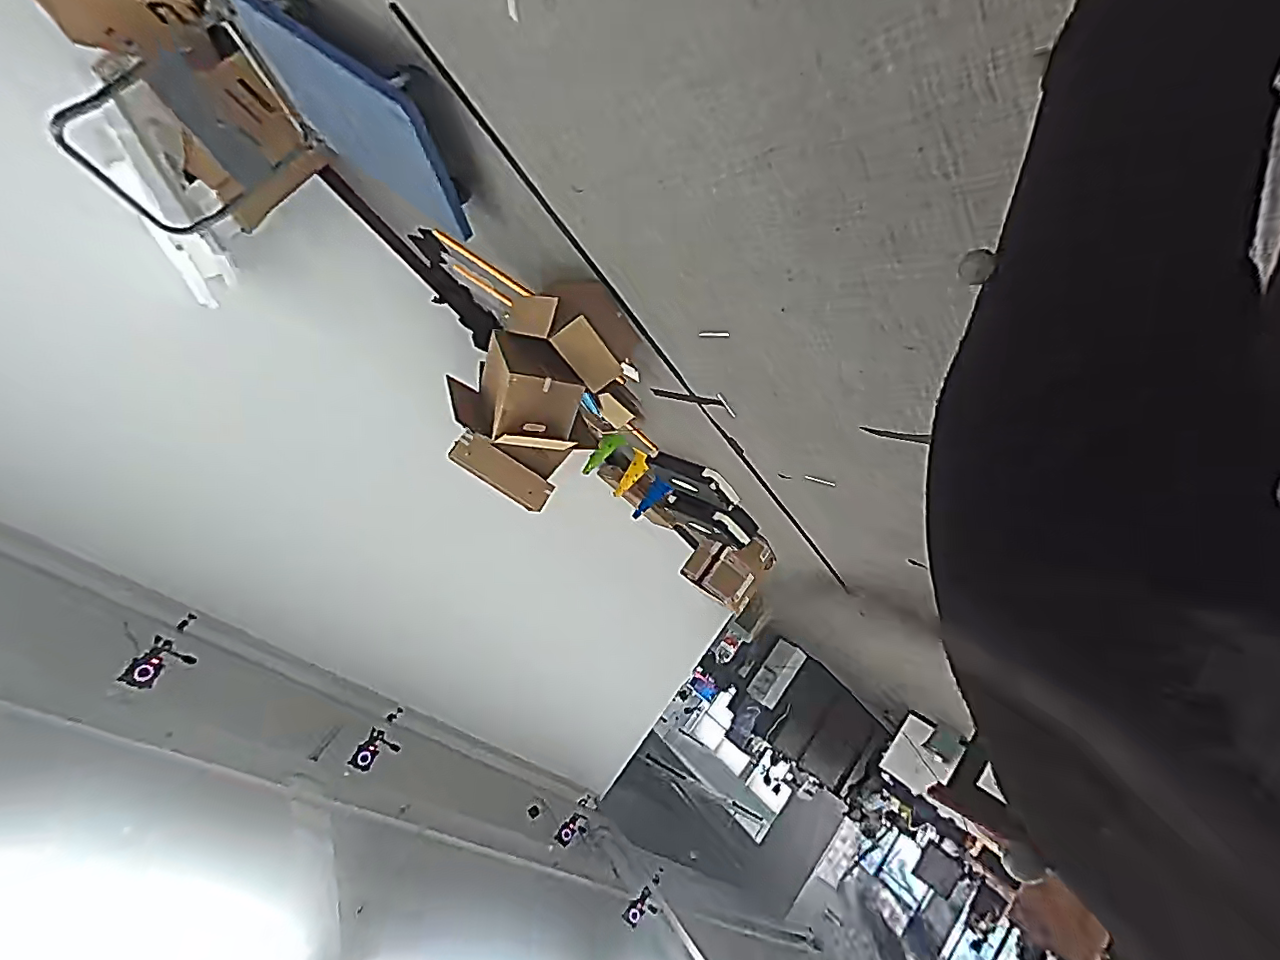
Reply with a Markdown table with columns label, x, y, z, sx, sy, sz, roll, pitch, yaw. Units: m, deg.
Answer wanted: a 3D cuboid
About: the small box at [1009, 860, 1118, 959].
| label | x | y | z | sx | sy | sz | roll | pitch | yaw |
| --- | --- | --- | --- | --- | --- | --- | --- | --- | --- |
| small box | 1.099 | 1.133 | 1.398 | 0.168 | 0.176 | 0.179 | 44 | 168 | -36 |
